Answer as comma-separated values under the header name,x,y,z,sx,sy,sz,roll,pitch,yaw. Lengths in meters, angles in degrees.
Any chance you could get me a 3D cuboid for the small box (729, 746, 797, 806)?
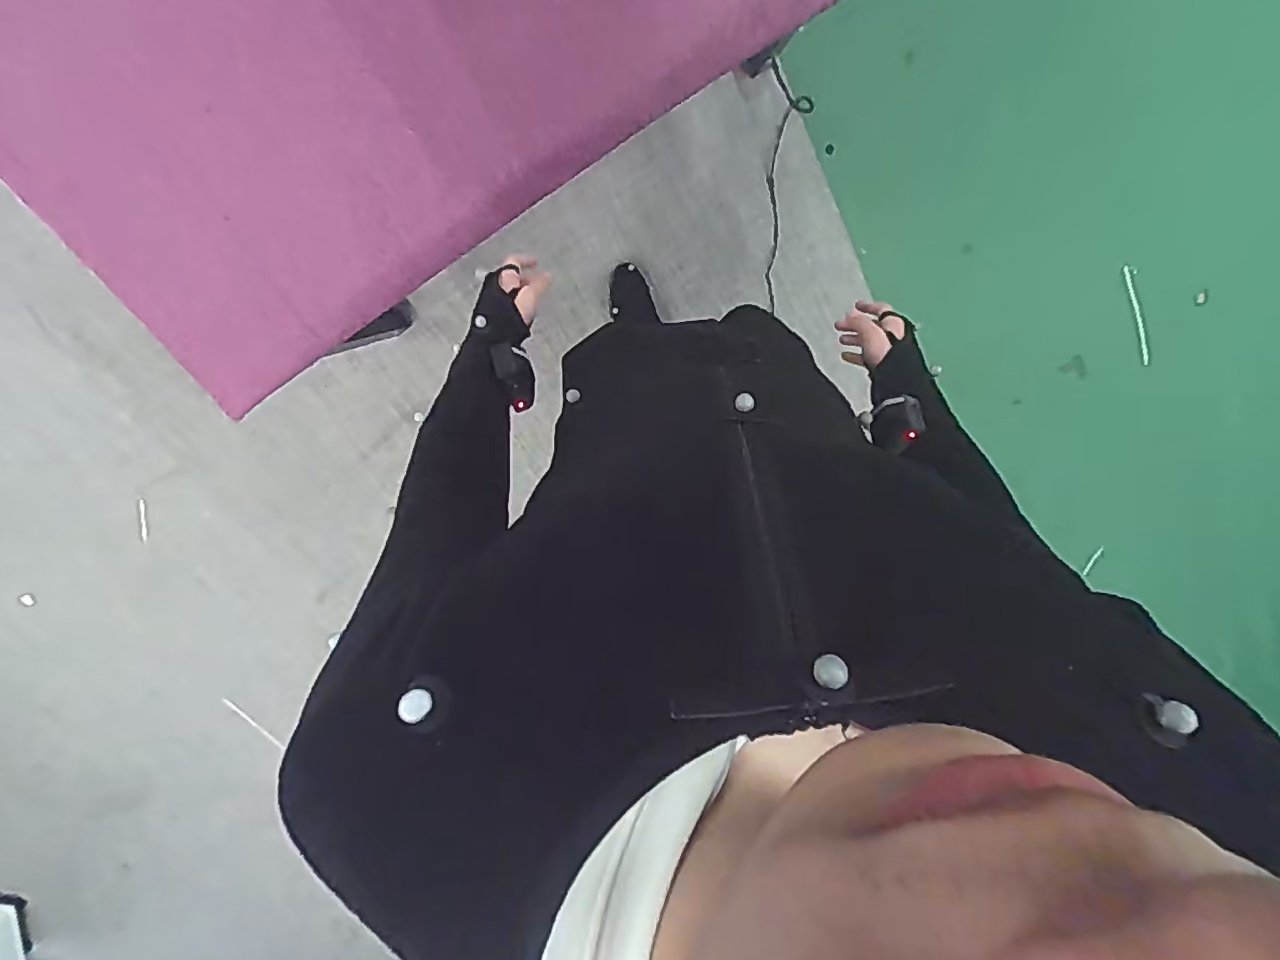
name,x,y,z,sx,sy,sz,roll,pitch,yaw
small box,0.458,1.145,2.040,0.179,0.176,0.168,-29,109,7
